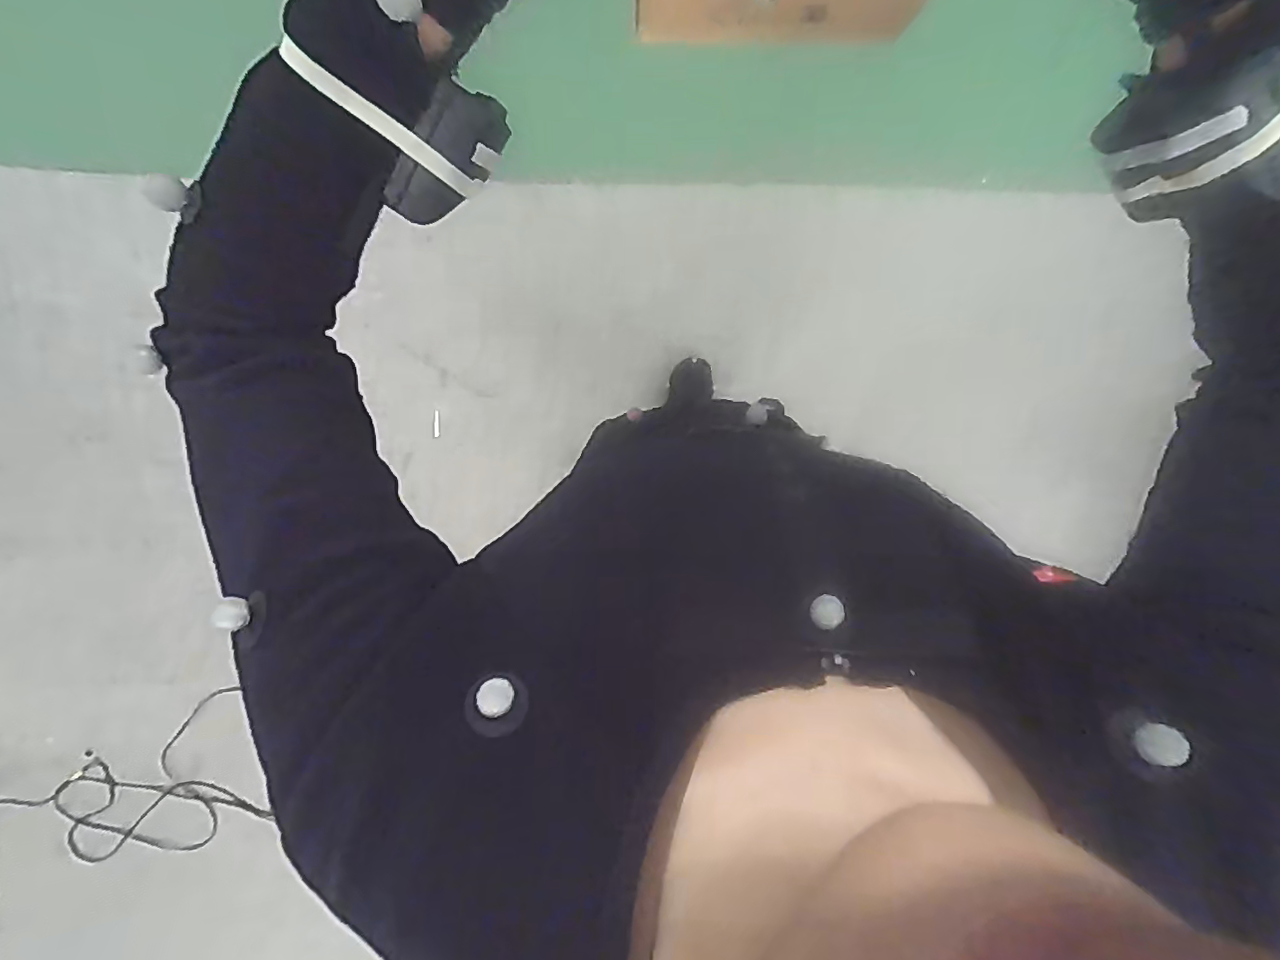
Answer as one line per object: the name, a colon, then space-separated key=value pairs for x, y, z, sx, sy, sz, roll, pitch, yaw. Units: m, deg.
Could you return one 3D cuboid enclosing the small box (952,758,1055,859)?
small box: x=1.023 y=0.929 z=1.537 sx=0.168 sy=0.176 sz=0.179 roll=5 pitch=97 yaw=-3
